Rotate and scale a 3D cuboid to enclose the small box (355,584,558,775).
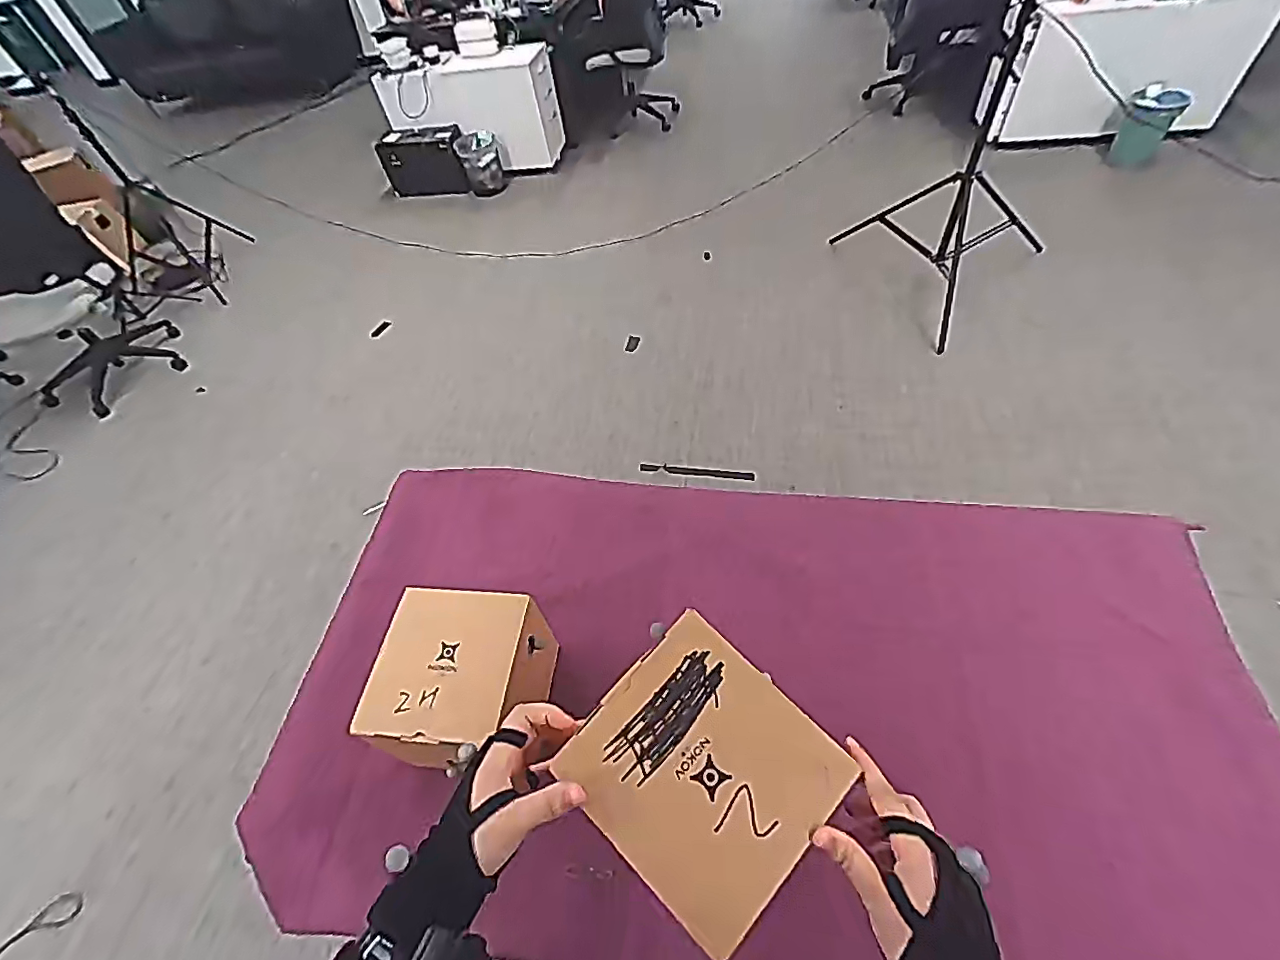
[{"bbox_3d":[-0.209,0.250,0.678,0.168,0.176,0.179,1,52,8],"label":"small box"}]
